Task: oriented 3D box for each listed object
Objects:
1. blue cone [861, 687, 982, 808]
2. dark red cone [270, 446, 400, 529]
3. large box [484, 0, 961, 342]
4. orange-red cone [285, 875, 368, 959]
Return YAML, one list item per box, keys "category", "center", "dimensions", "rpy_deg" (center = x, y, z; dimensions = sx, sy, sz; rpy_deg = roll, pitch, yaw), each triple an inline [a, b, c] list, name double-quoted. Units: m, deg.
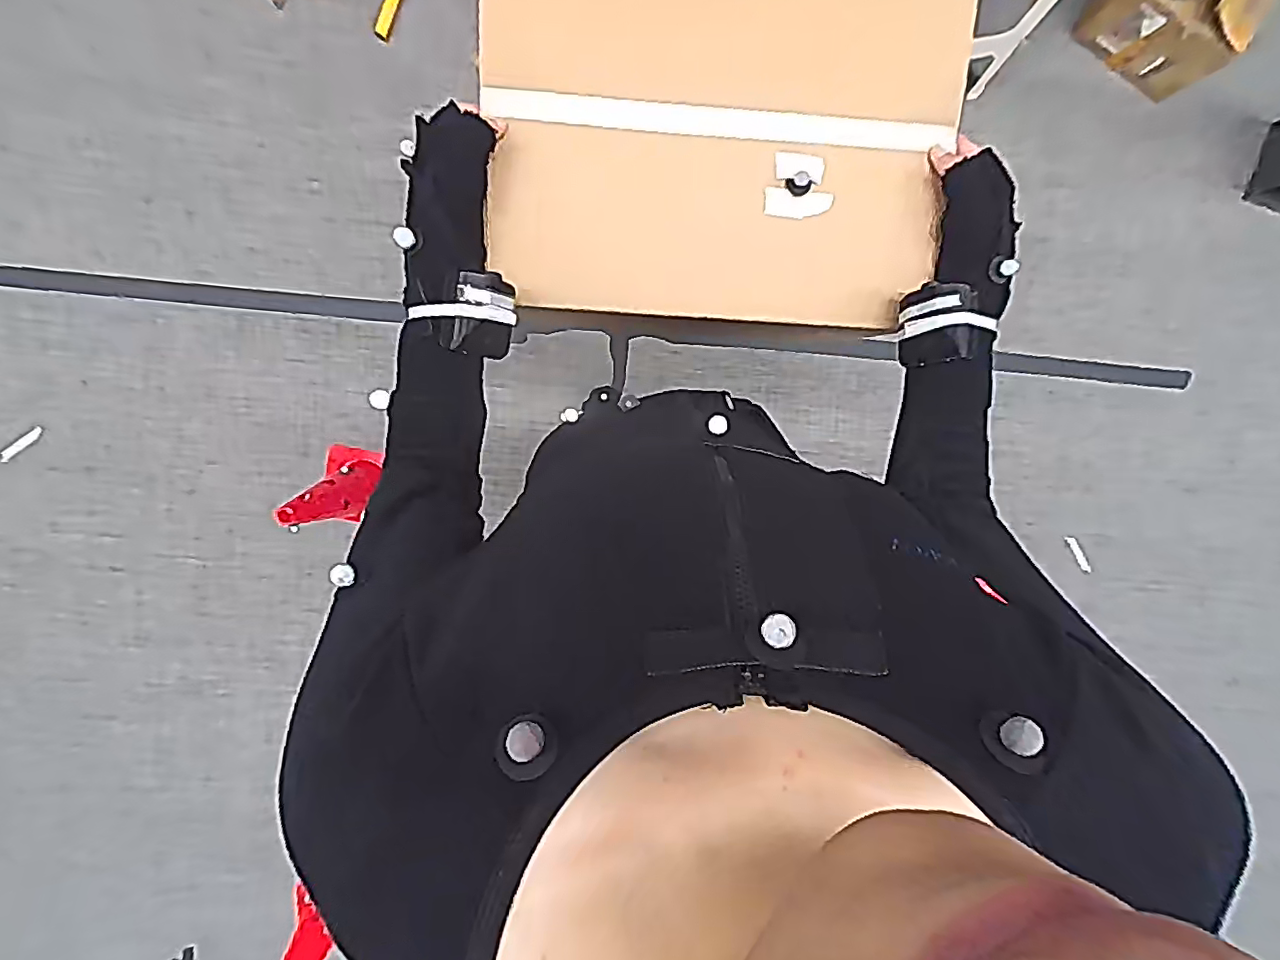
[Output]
- category: "blue cone"
  center: [0.779, 0.741, 1.474]
  dimensions: [0.192, 0.380, 0.193]
  rpy_deg: [8, 99, -5]
- category: "dark red cone"
  center: [-0.722, 0.044, 1.250]
  dimensions: [0.201, 0.394, 0.202]
  rpy_deg: [11, 98, -6]
- category: "large box"
  center: [0.058, -0.330, 0.609]
  dimensions: [0.408, 0.320, 0.320]
  rpy_deg: [2, 102, -5]
- category: "orange-red cone"
  center: [-0.917, 1.313, 1.461]
  dimensions: [0.198, 0.360, 0.199]
  rpy_deg: [3, 100, -2]
